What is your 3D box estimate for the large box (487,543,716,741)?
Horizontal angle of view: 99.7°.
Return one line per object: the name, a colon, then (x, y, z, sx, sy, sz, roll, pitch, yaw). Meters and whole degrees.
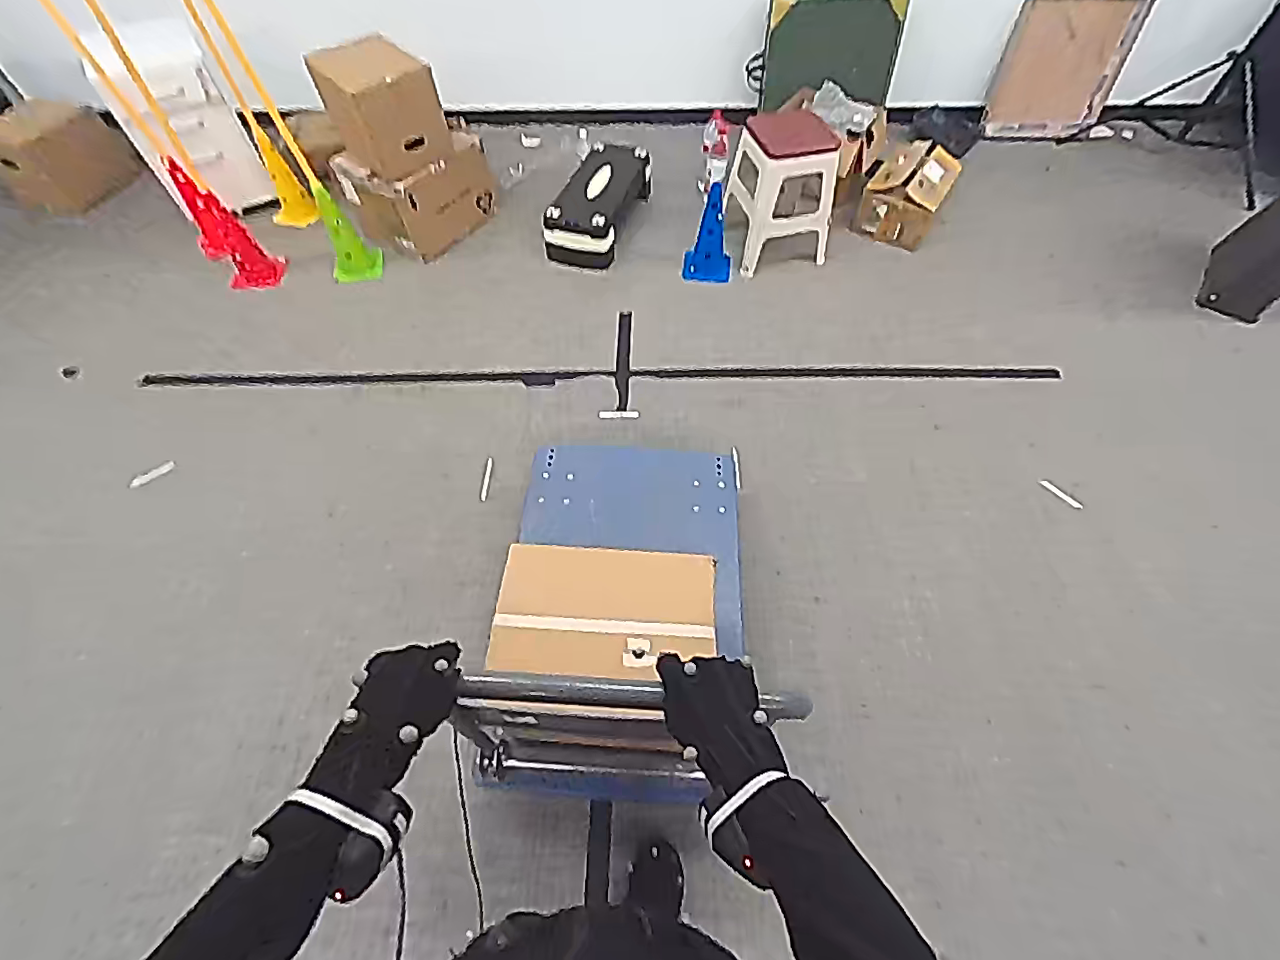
large box: (-0.065, 0.347, 1.131, 0.408, 0.320, 0.320, 4, 57, 1)
